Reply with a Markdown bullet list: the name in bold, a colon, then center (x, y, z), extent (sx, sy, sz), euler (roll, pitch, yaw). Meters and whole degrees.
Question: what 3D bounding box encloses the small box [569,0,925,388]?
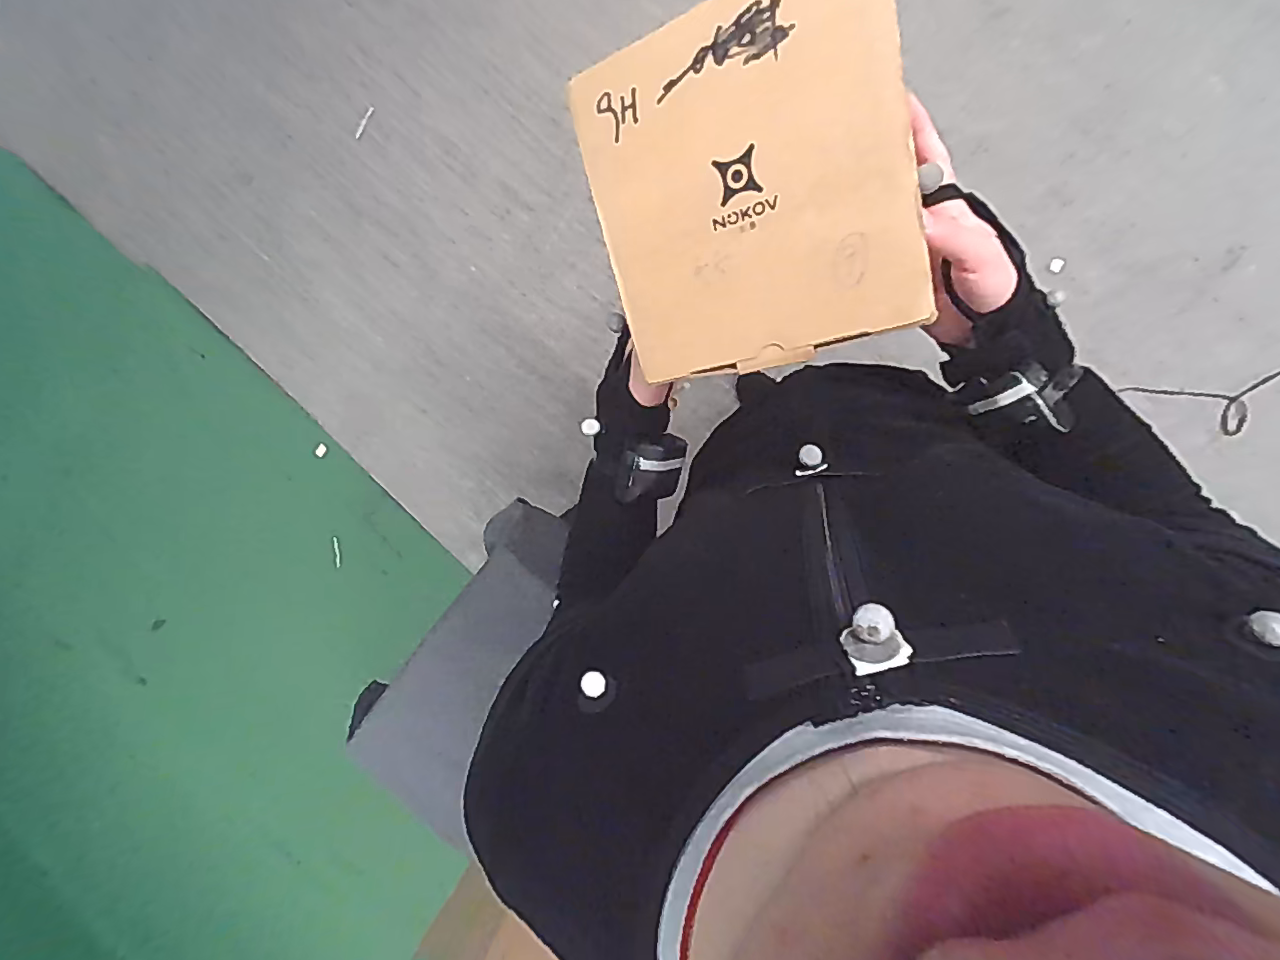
- **small box**: center (0.086, -0.178, 0.357), extent (0.168, 0.176, 0.179), euler (-9, 107, 28)
